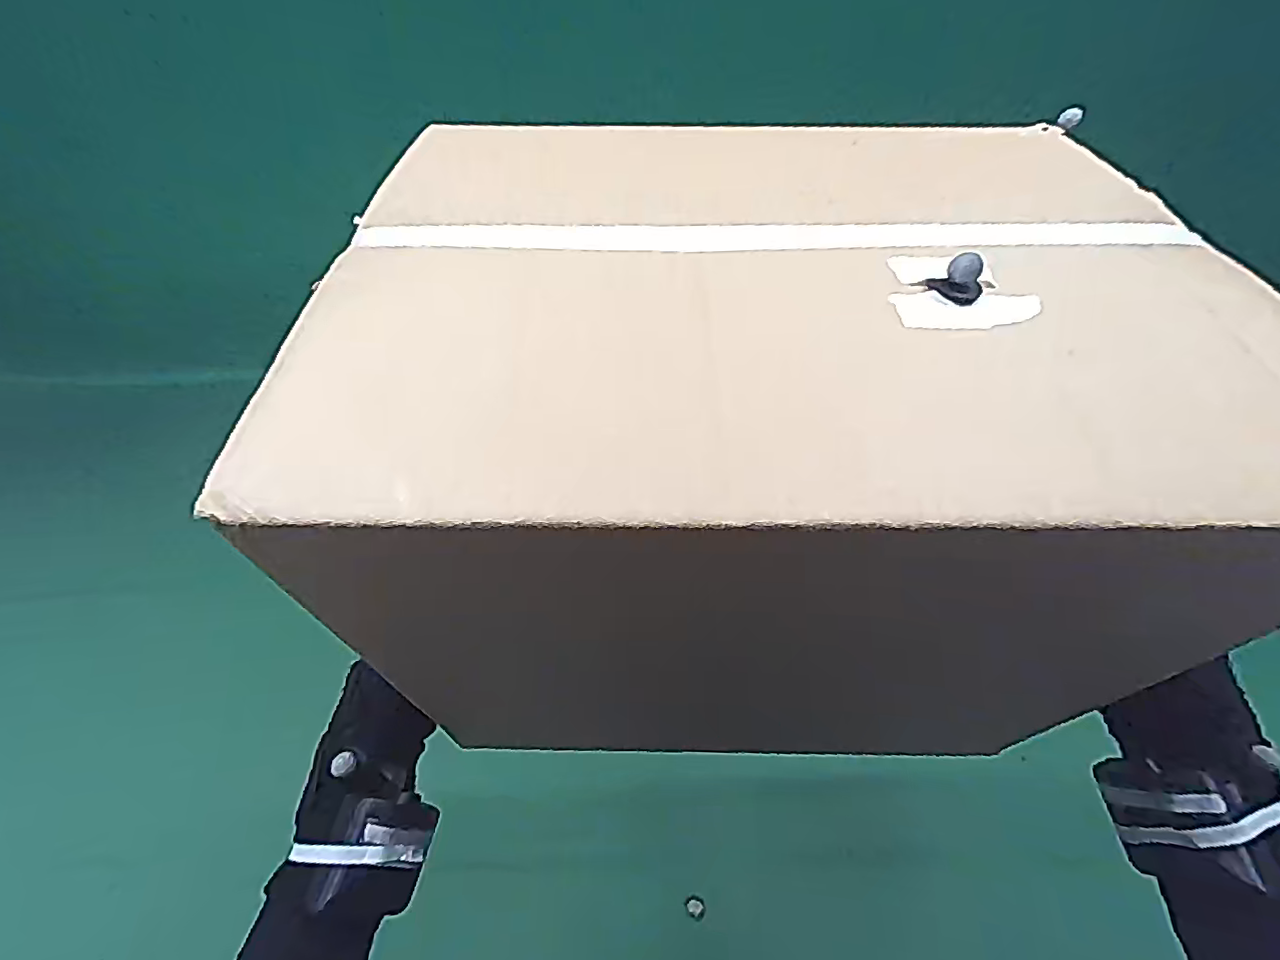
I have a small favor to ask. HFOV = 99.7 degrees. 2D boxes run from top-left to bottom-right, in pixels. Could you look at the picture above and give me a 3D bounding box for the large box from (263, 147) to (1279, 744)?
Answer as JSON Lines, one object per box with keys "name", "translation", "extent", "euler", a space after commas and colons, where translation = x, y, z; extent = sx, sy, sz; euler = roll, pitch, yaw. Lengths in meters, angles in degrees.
{"name": "large box", "translation": [0.068, -0.013, 0.389], "extent": [0.408, 0.320, 0.320], "euler": [1, 52, 0]}
